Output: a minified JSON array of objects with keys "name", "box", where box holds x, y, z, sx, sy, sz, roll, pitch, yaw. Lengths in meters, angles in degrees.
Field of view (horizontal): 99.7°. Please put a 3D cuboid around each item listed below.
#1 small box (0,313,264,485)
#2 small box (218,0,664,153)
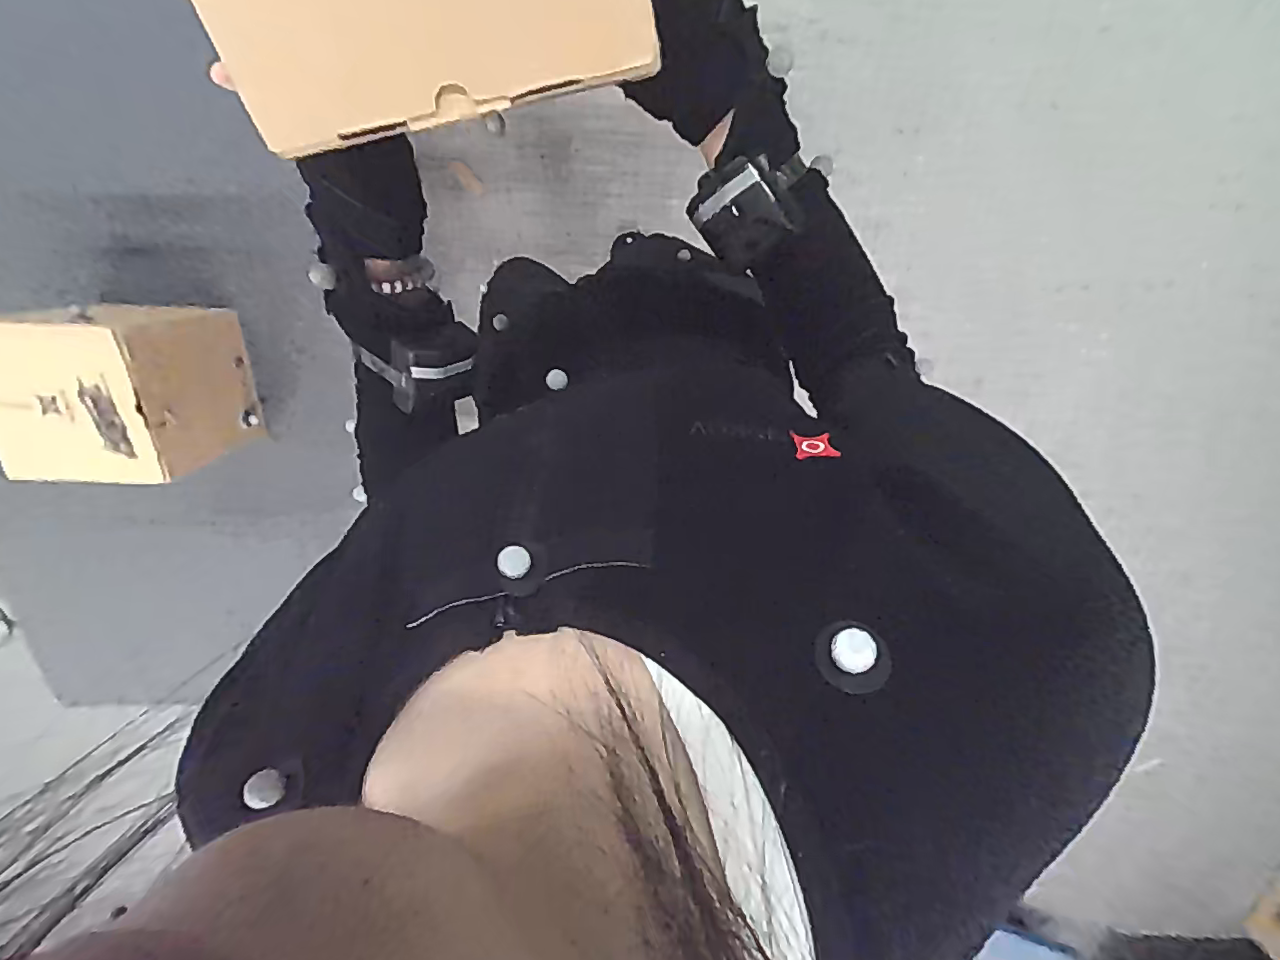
[{"name":"small box","box":[-0.583,-0.103,0.635,0.179,0.176,0.168,2,112,1]},{"name":"small box","box":[-0.085,-0.269,0.241,0.168,0.176,0.179,-8,127,7]}]
